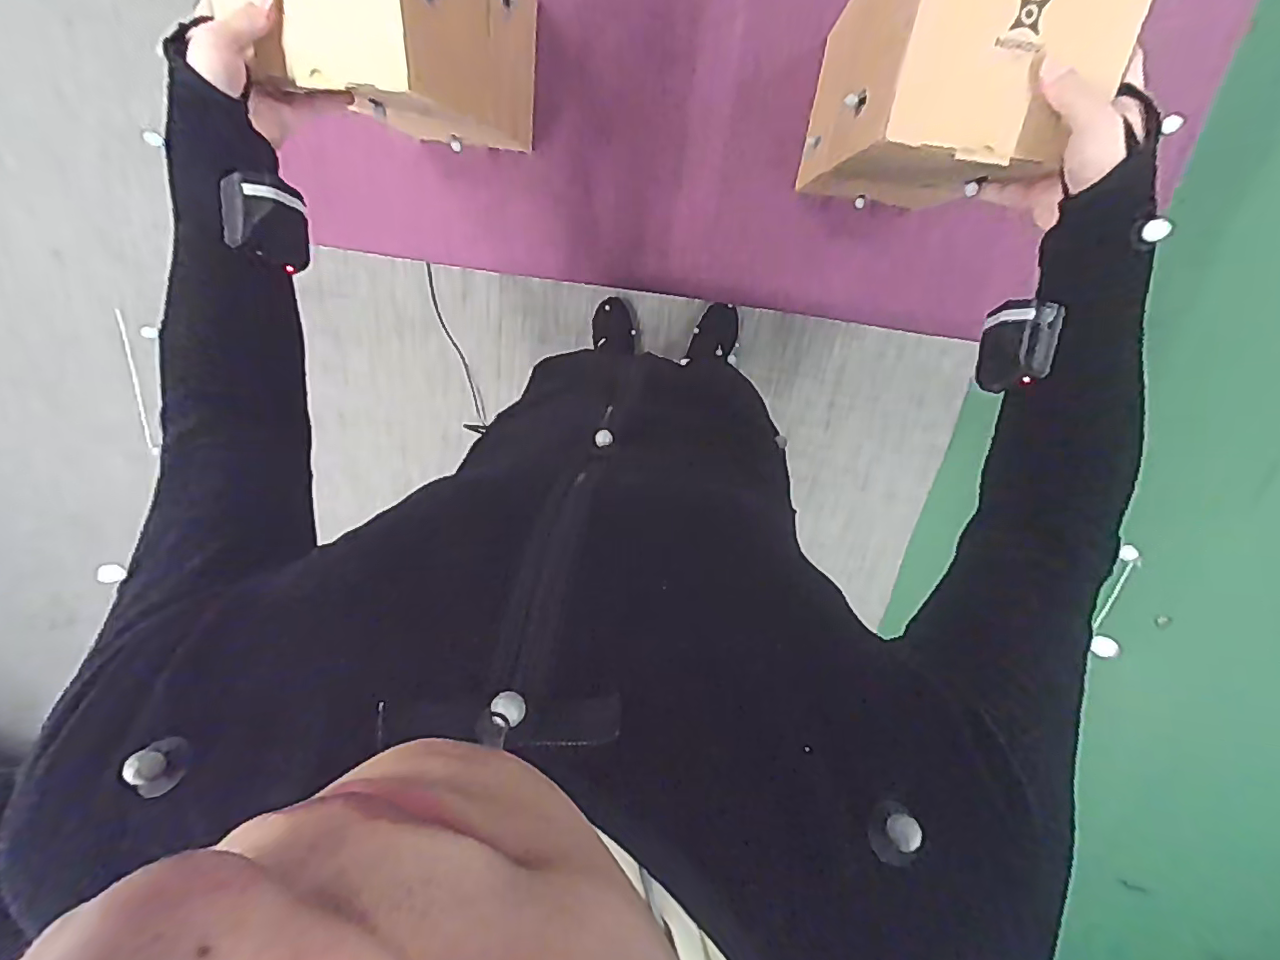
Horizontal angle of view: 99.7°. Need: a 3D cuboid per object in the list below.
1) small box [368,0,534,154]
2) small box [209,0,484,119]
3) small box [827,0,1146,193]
[{"bbox_3d":[-0.230,-0.513,0.643,0.168,0.176,0.179,9,112,3],"label":"small box"},{"bbox_3d":[-0.252,-0.444,0.486,0.168,0.176,0.179,8,119,6],"label":"small box"},{"bbox_3d":[0.276,-0.361,0.464,0.168,0.176,0.179,8,111,-1],"label":"small box"}]
